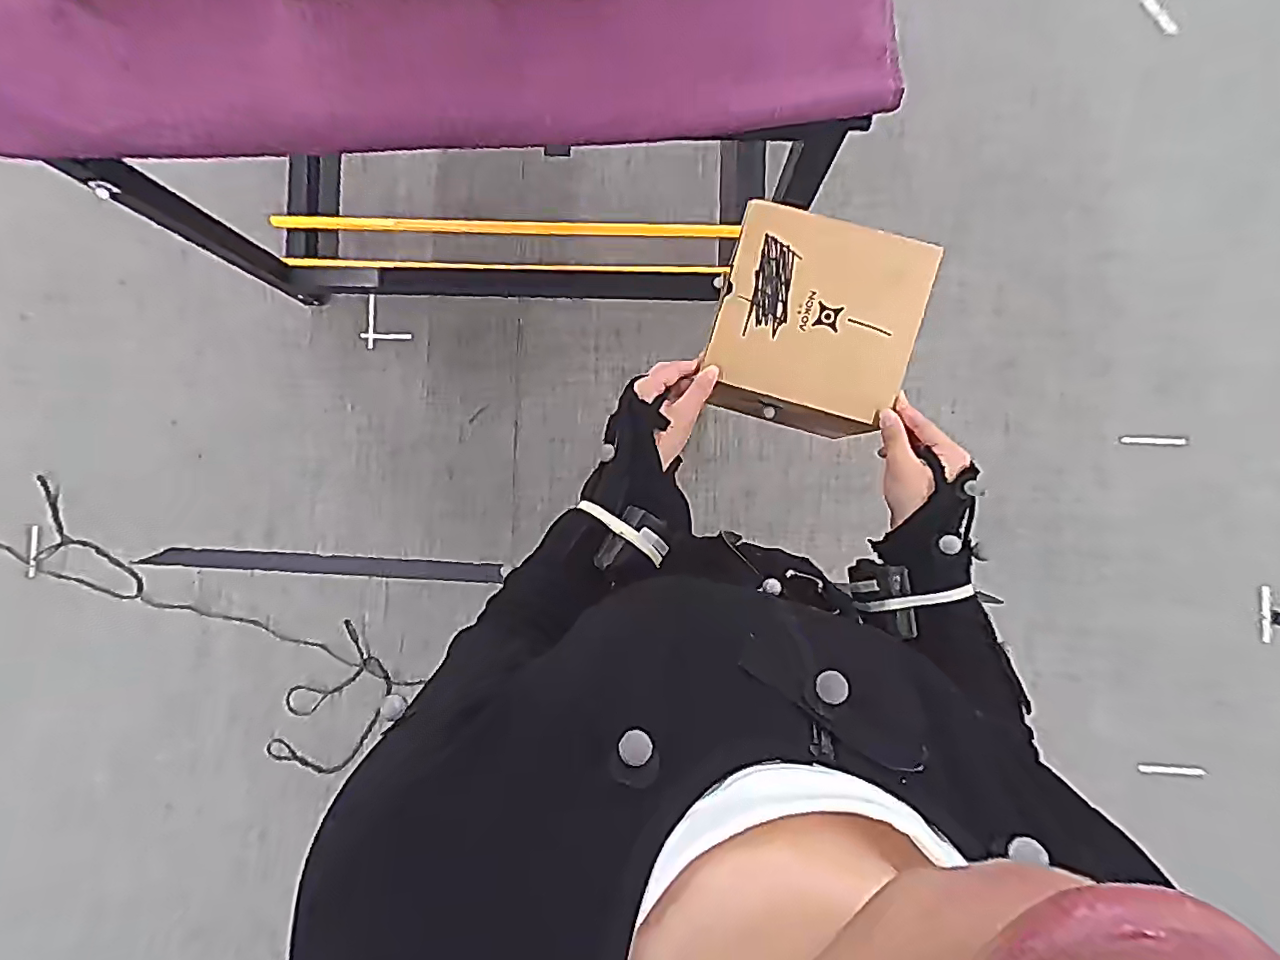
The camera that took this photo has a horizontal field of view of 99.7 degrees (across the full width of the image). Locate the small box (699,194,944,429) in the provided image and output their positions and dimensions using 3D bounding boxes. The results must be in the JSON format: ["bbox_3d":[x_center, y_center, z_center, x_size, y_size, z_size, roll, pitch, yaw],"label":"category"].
[{"bbox_3d":[0.165,-0.154,0.557,0.179,0.176,0.168,17,92,3],"label":"small box"}]
